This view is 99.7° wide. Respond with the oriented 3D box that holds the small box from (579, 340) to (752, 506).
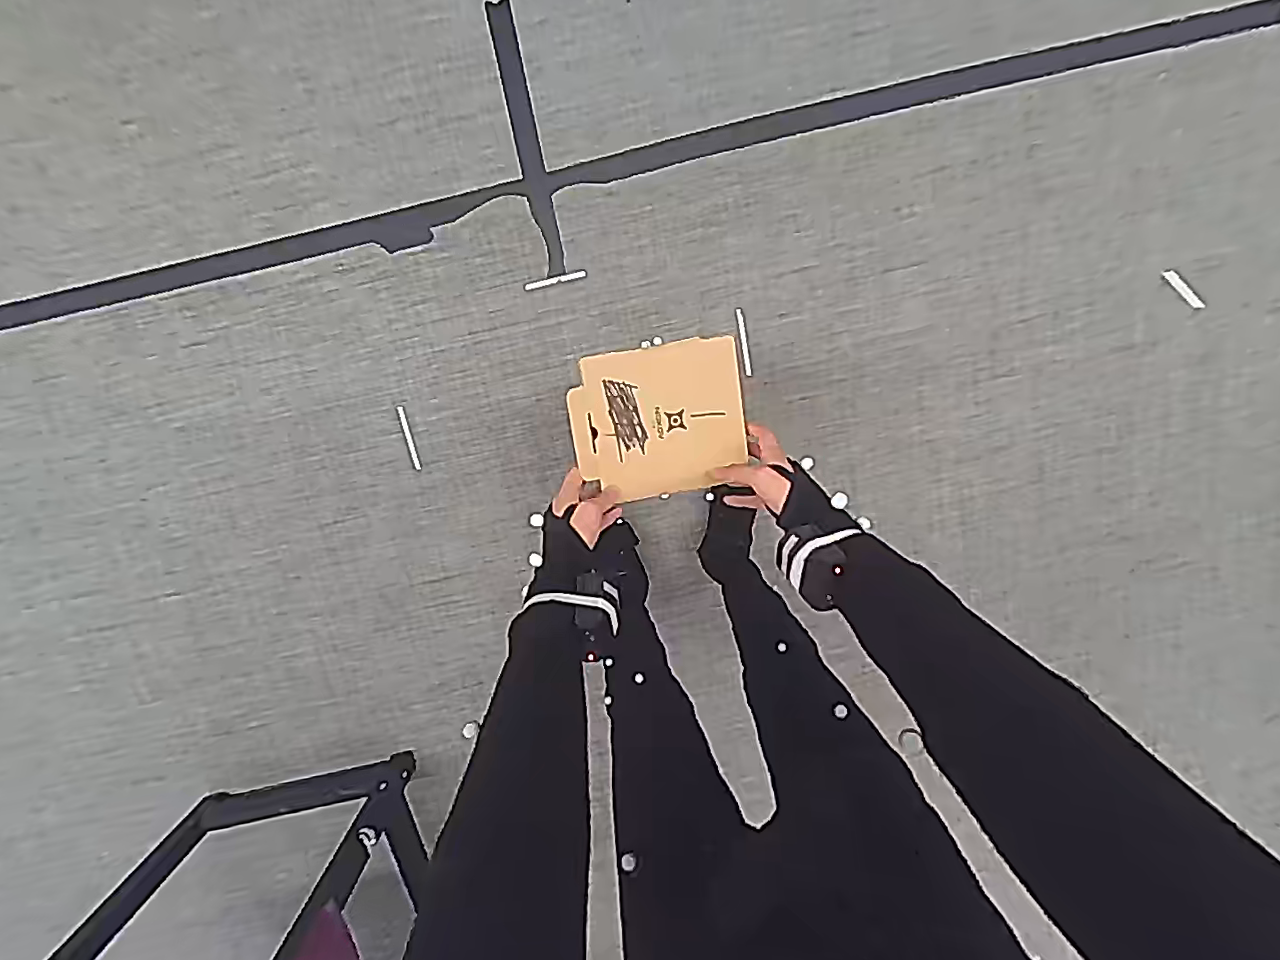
[{"bbox_3d":[0.028,-0.073,0.680,0.179,0.176,0.168,-10,100,-1],"label":"small box"}]
